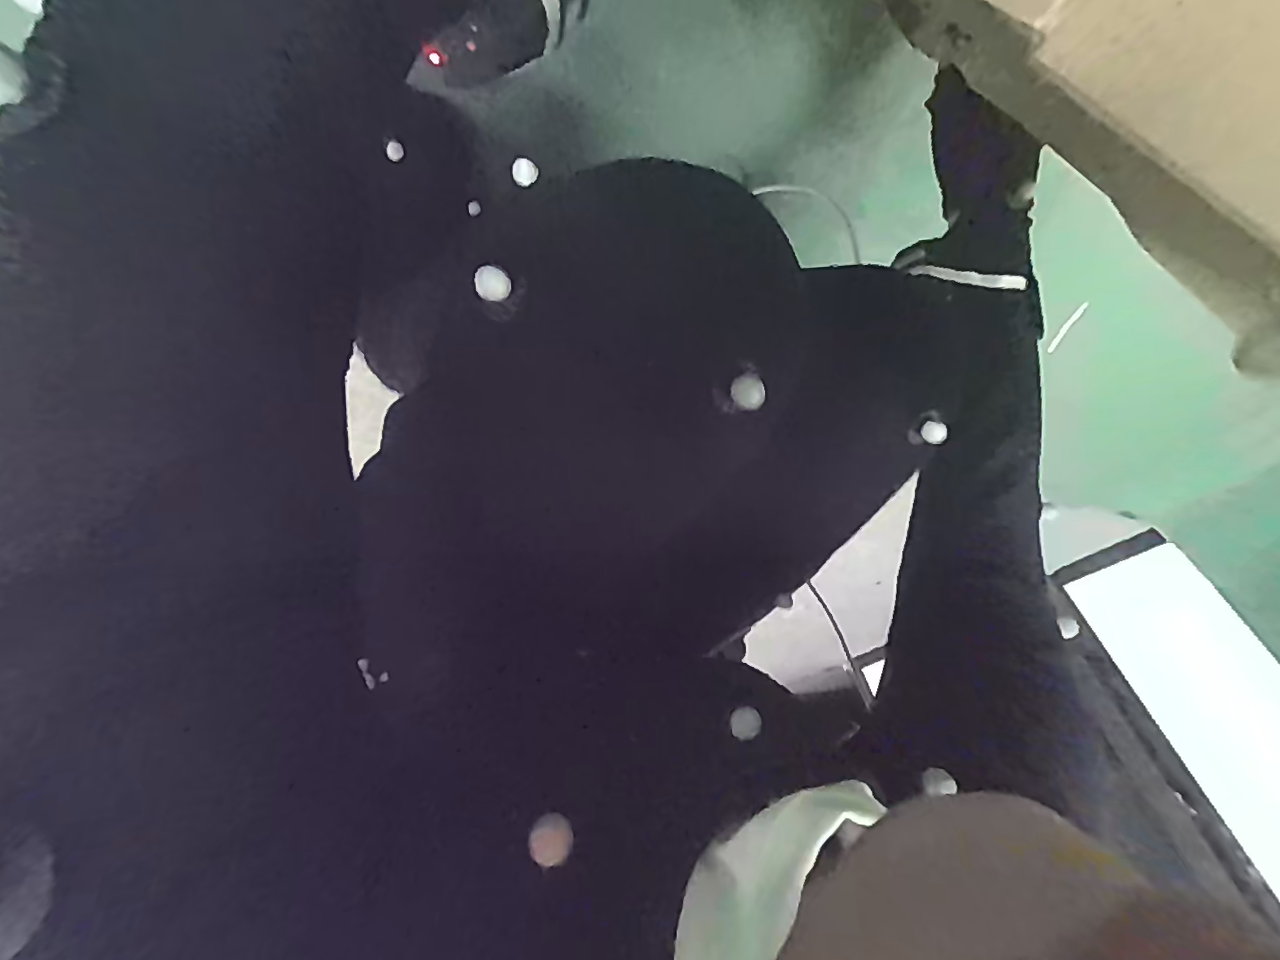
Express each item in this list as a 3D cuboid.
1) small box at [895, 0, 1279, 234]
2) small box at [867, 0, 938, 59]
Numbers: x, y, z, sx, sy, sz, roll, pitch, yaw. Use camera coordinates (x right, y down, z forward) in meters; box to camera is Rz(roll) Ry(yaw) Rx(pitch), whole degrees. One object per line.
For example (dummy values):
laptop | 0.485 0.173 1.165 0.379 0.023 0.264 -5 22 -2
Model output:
small box | 0.226 -0.253 0.224 0.168 0.176 0.179 9 143 -36
small box | 0.192 -0.391 0.303 0.168 0.176 0.179 12 140 -37
